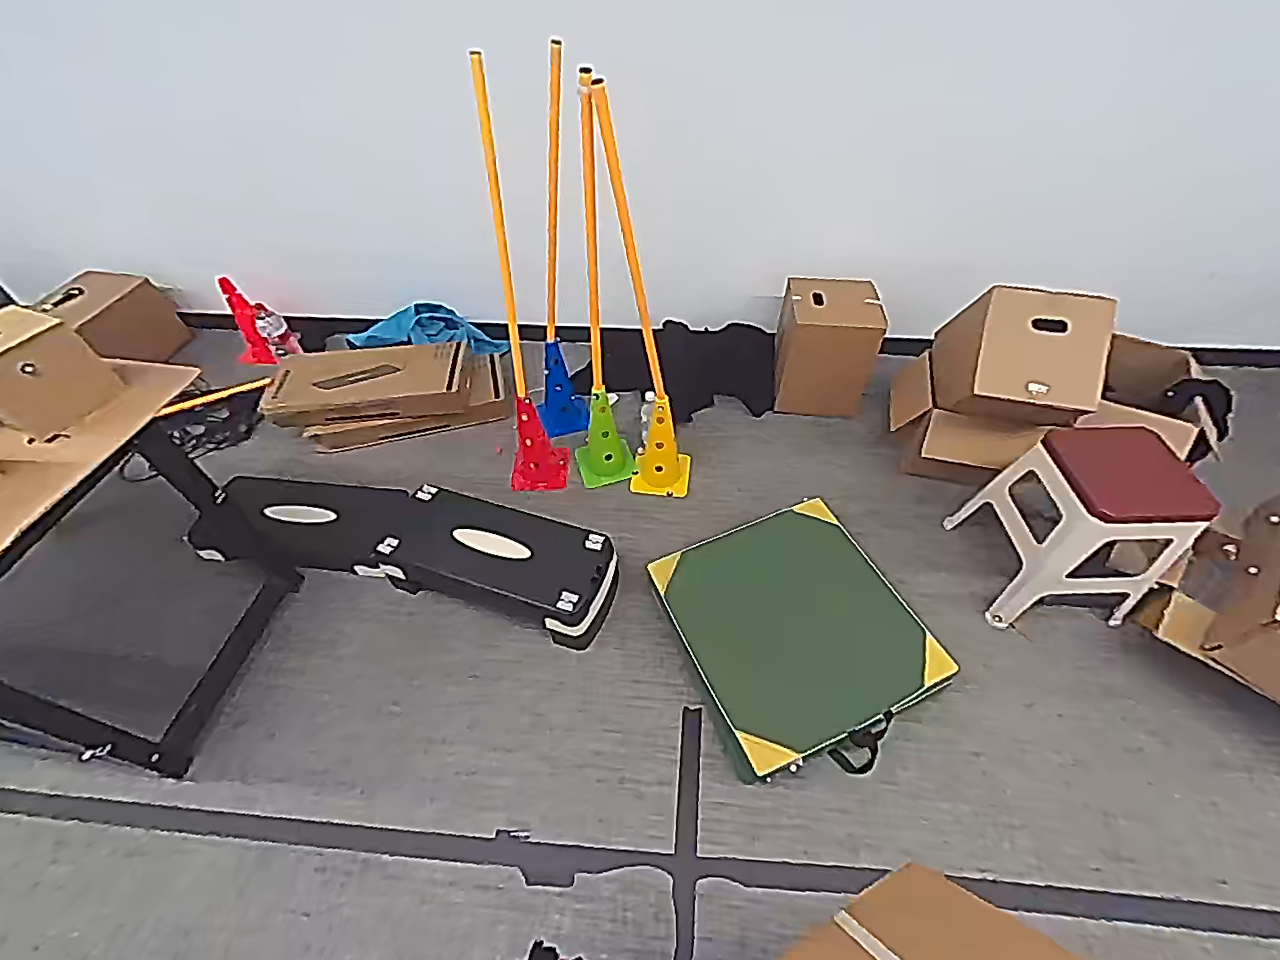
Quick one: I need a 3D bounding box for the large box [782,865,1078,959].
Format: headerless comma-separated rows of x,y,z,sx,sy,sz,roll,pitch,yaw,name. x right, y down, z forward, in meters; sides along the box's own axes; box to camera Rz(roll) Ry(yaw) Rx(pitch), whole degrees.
0.412,0.754,0.615,0.320,0.408,0.320,-22,82,-18,large box
